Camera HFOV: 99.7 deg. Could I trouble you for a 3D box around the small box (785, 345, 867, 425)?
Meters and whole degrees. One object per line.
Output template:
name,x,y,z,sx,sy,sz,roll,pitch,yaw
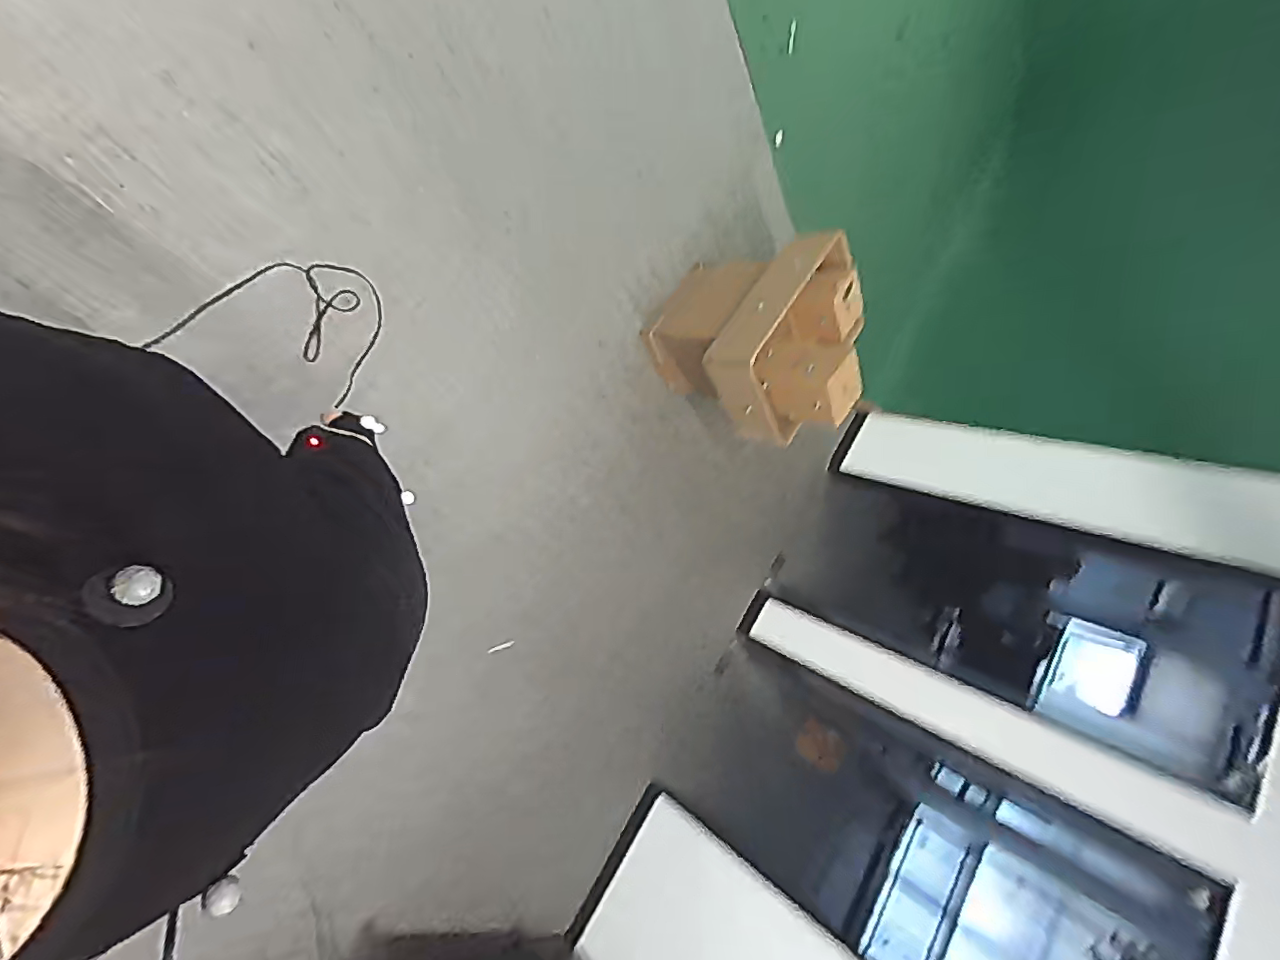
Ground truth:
small box,0.561,-0.294,1.635,0.168,0.176,0.179,-49,134,-20
